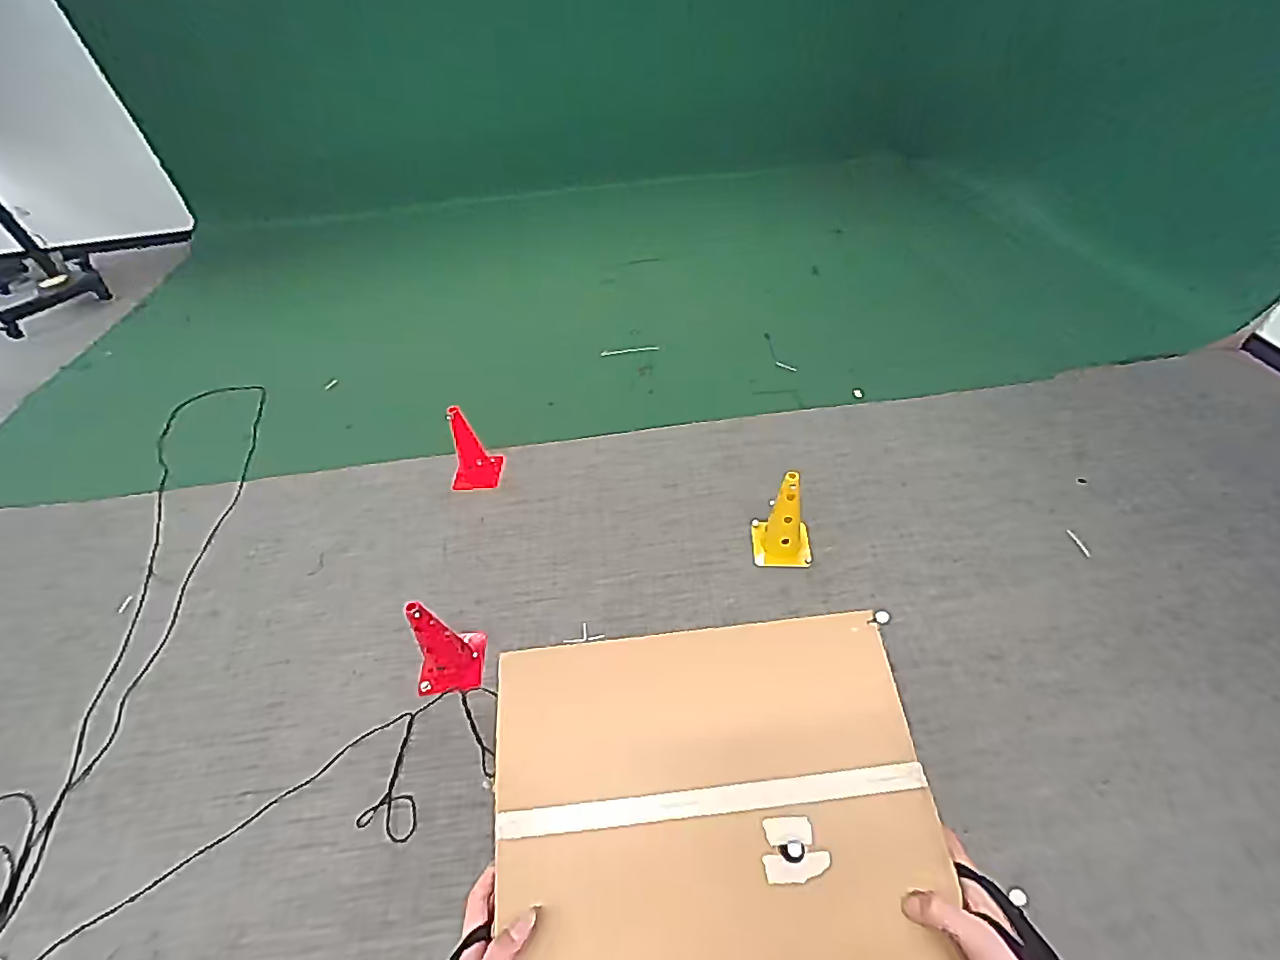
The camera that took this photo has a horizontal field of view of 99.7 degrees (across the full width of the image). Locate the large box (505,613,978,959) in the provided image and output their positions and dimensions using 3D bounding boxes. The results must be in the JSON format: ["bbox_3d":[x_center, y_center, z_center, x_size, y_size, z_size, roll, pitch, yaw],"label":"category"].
[{"bbox_3d":[0.075,0.374,0.646,0.408,0.320,0.320,-7,63,-1],"label":"large box"}]

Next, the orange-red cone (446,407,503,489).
[{"bbox_3d":[-0.723,-0.151,2.221,0.199,0.360,0.198,-3,46,5],"label":"orange-red cone"}]
